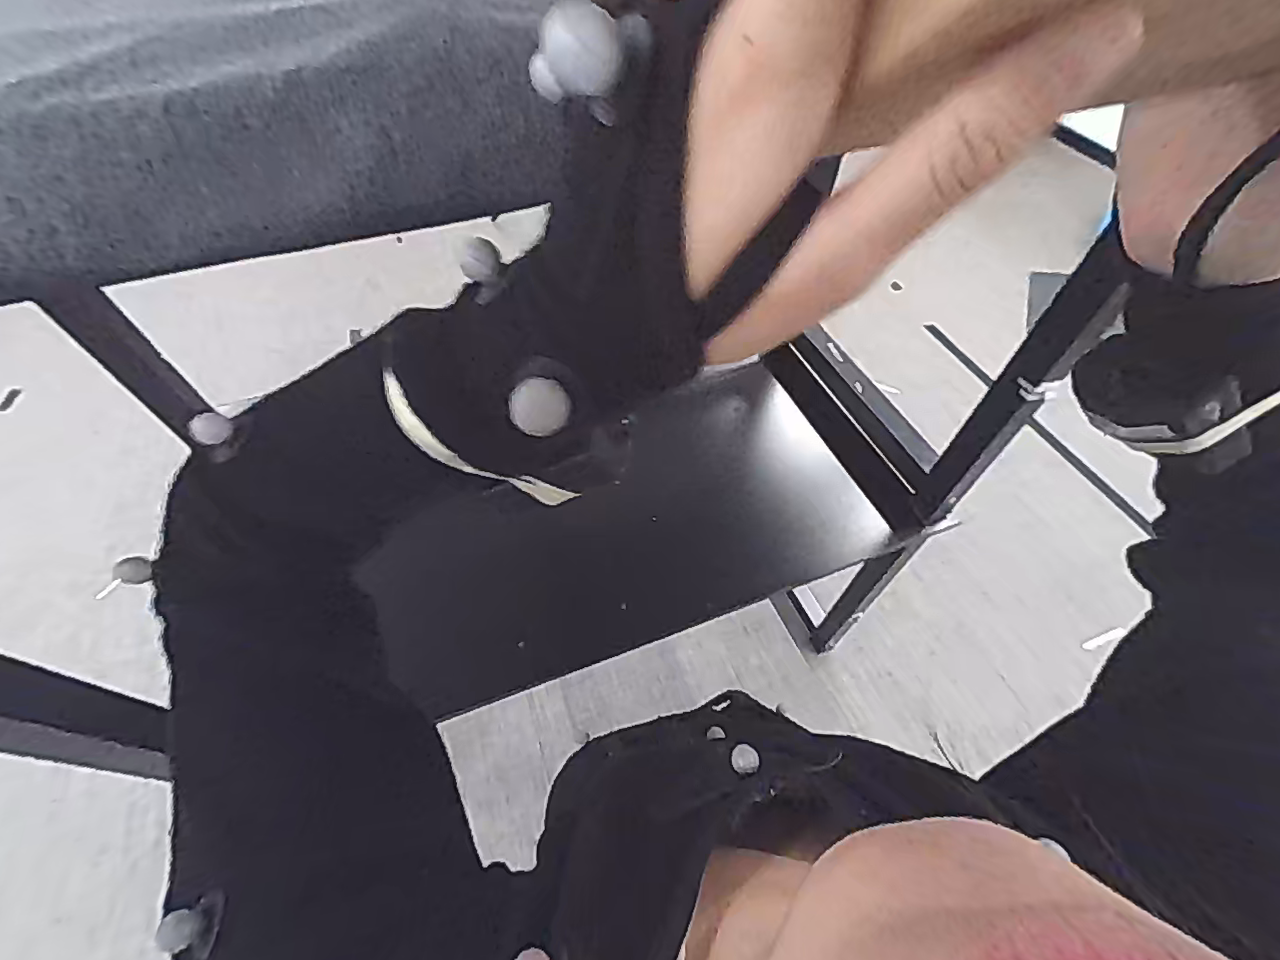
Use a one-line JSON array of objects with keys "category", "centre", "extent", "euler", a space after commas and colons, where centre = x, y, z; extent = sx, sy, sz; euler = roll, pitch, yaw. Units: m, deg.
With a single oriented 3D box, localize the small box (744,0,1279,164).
[{"category": "small box", "centre": [0.120, -0.163, 0.064], "extent": [0.179, 0.168, 0.176], "euler": [-15, 16, -9]}]
